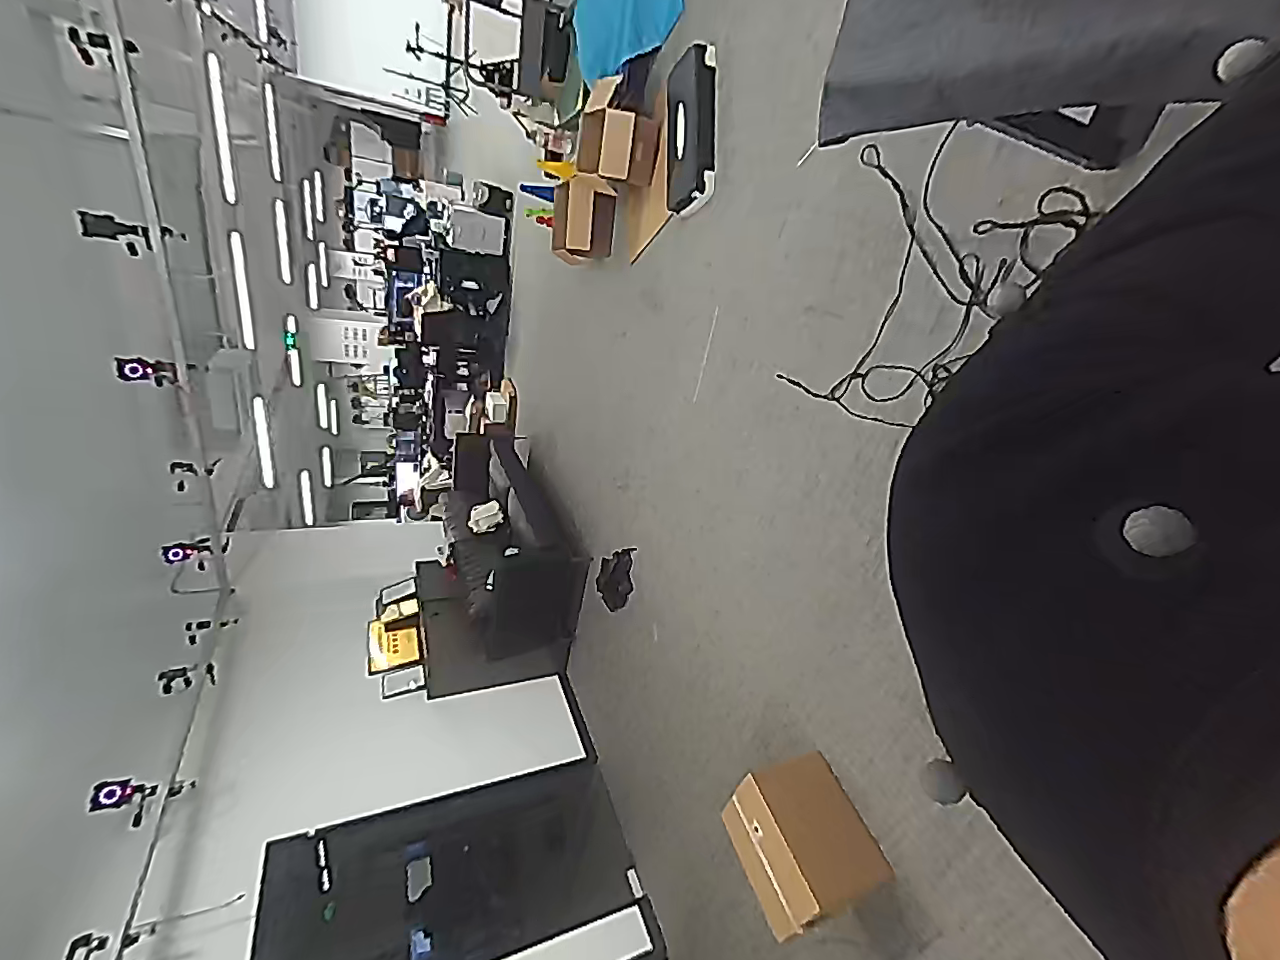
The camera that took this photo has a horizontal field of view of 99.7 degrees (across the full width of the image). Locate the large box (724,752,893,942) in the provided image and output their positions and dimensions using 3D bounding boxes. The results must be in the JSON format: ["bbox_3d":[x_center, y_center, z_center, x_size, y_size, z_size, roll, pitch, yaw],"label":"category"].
[{"bbox_3d":[0.546,1.212,1.816,0.408,0.320,0.320,-119,37,-46],"label":"large box"}]
